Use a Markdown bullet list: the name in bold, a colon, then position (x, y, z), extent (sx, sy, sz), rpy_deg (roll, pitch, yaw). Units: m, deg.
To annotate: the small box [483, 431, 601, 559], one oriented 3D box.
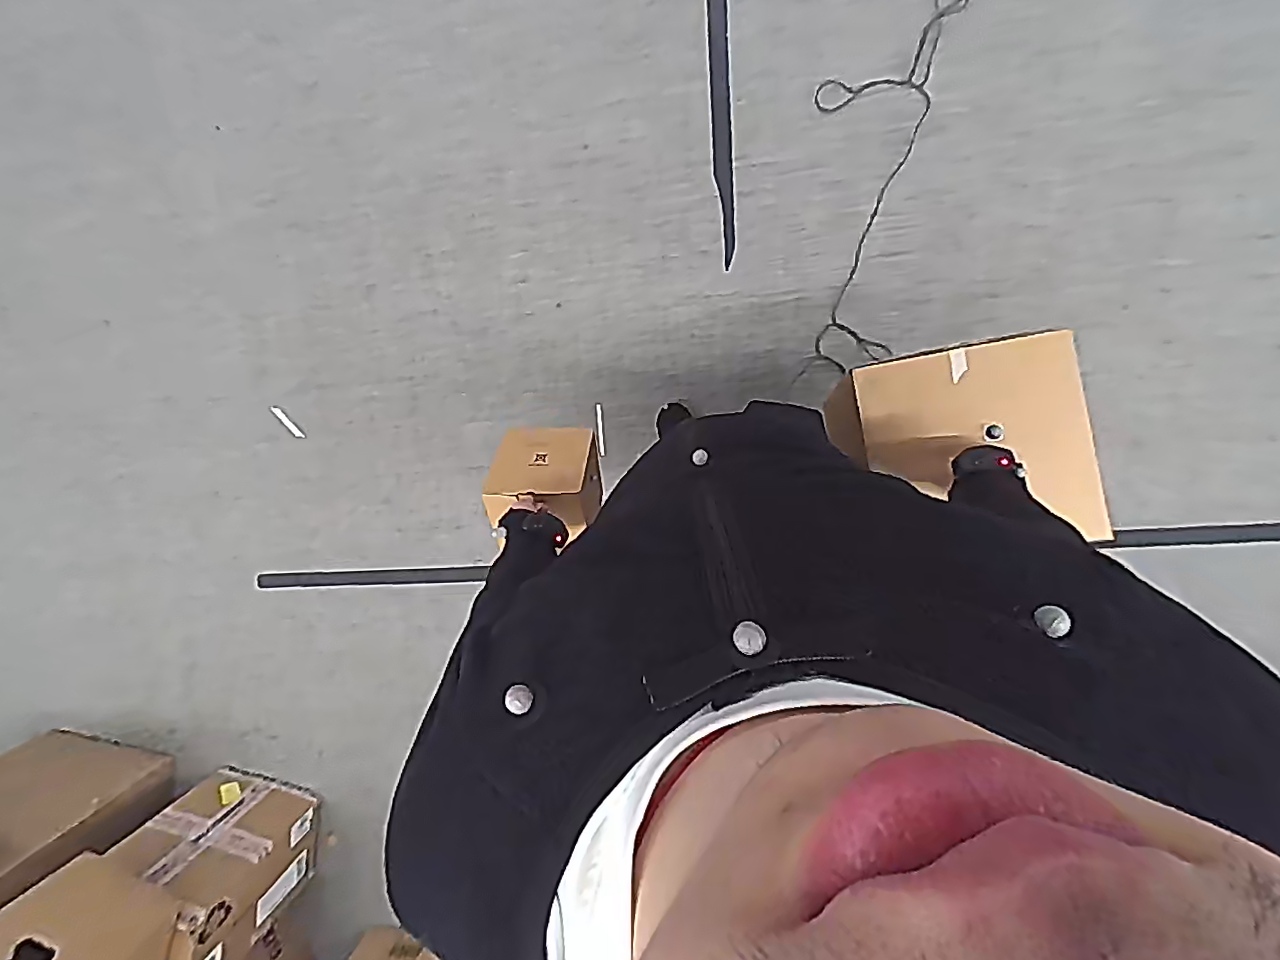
- **small box**: position (-0.166, 0.029, 0.988), extent (0.168, 0.179, 0.176), rpy_deg (0, 133, 4)
